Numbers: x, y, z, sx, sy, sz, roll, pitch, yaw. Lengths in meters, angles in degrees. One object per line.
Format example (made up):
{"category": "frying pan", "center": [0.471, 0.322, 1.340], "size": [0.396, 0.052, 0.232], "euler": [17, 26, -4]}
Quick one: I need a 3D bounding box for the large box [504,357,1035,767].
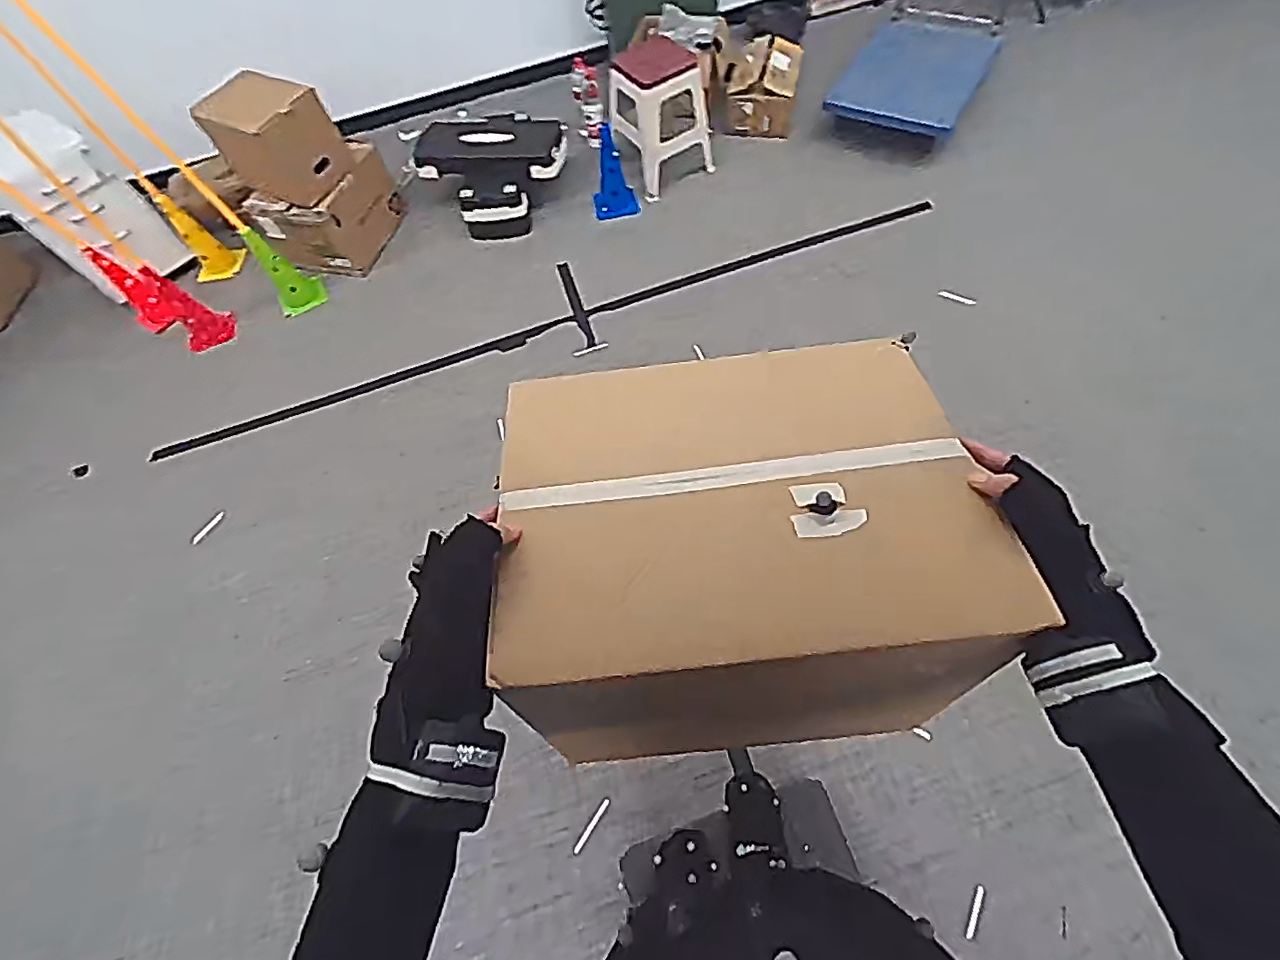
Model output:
{"category": "large box", "center": [0.092, 0.102, 0.602], "size": [0.408, 0.320, 0.320], "euler": [-6, 53, 1]}

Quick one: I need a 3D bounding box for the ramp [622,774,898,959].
{"category": "ramp", "center": [0.354, 1.190, 1.070], "size": [0.509, 0.206, 0.991], "euler": [-21, 62, -6]}
